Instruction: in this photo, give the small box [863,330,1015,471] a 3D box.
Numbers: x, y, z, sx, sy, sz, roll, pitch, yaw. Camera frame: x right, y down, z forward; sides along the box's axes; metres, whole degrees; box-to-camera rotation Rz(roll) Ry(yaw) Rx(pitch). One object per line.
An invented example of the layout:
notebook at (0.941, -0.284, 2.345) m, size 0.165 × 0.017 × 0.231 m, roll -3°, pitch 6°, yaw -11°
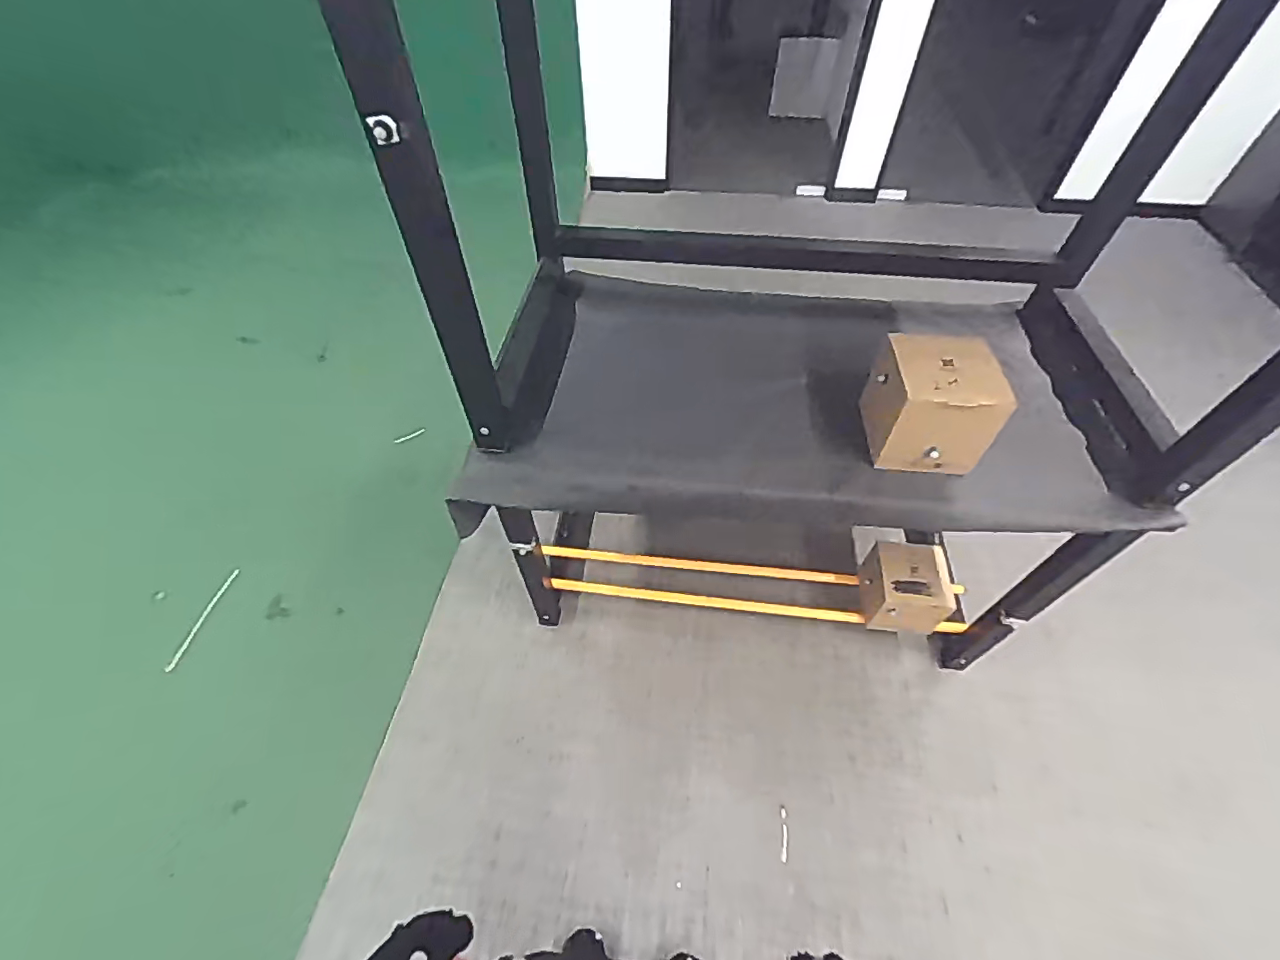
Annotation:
small box at (0.508, -0.139, 0.952) m, size 0.168 × 0.176 × 0.179 m, roll 4°, pitch 50°, yaw 5°
